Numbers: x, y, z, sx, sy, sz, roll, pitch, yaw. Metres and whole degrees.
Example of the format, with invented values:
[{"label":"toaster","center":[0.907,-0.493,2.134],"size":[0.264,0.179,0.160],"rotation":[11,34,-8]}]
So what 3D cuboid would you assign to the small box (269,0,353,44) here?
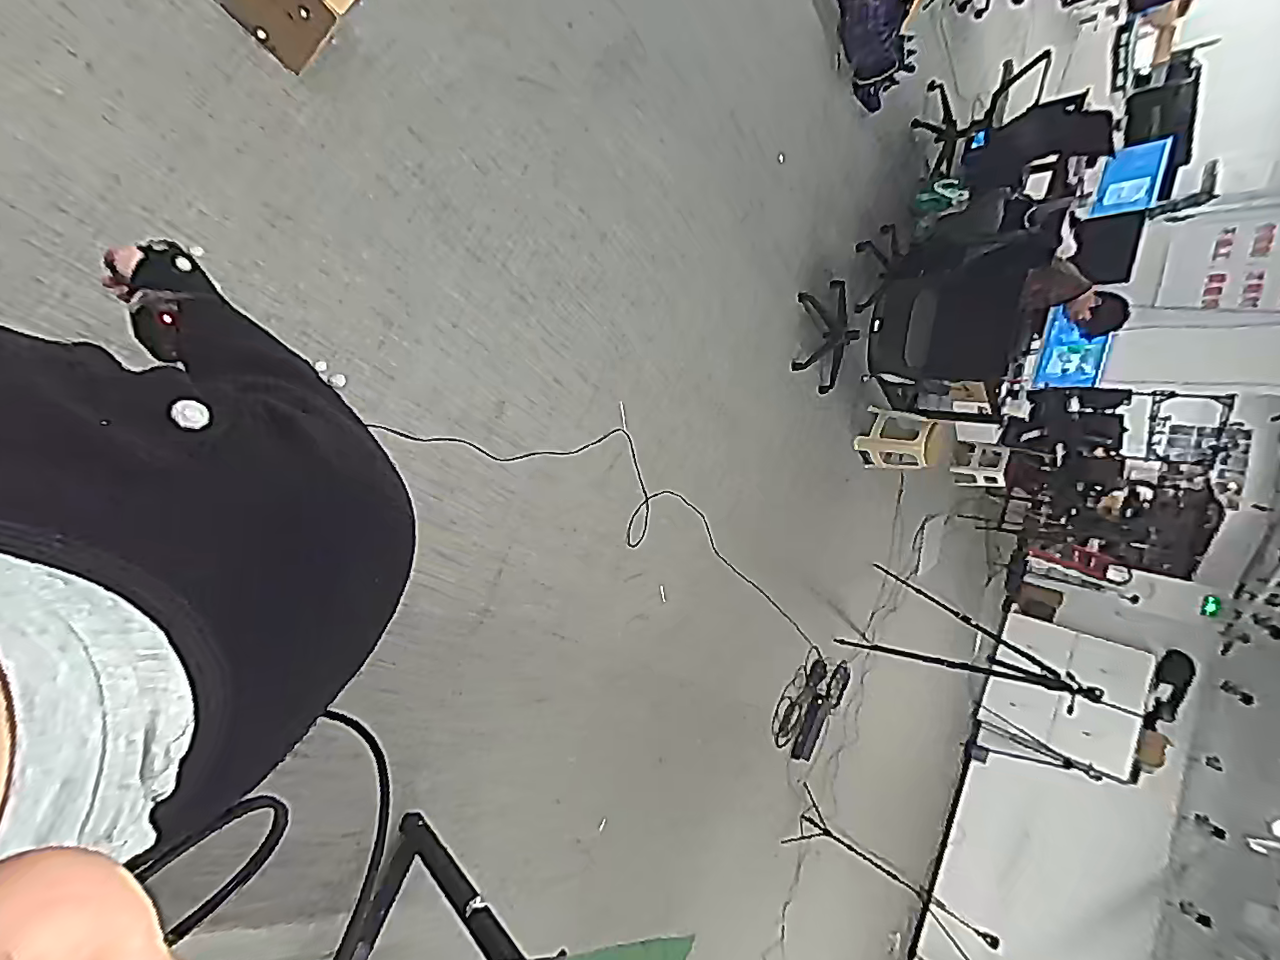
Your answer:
[{"label":"small box","center":[-0.642,-1.002,1.043],"size":[0.168,0.176,0.179],"rotation":[38,72,-45]}]

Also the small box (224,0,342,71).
[{"label":"small box","center":[-0.753,-1.036,1.156],"size":[0.168,0.176,0.179],"rotation":[36,76,-44]}]
